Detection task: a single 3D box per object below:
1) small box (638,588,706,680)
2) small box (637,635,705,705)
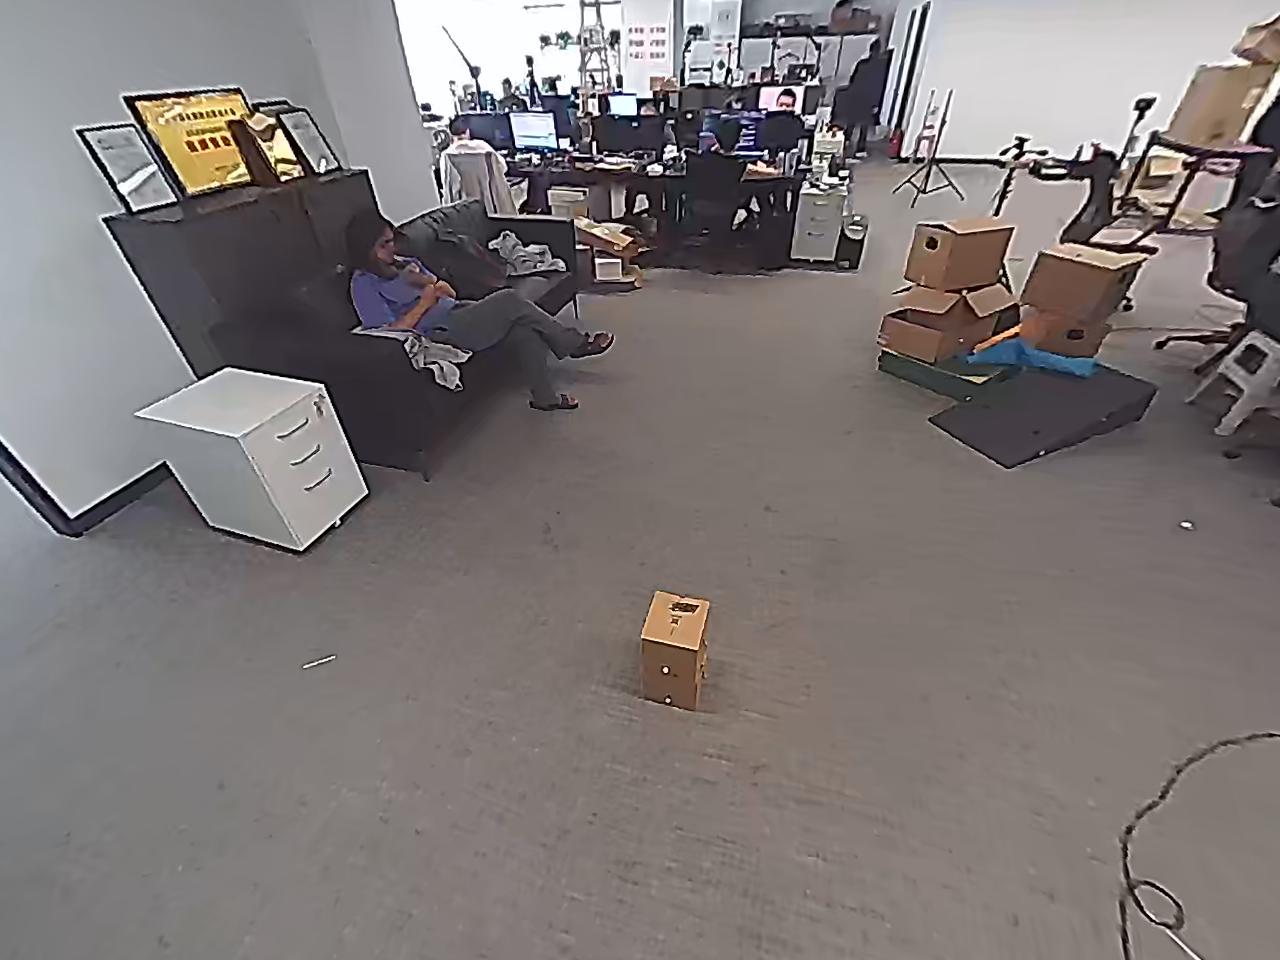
[{"bbox_3d":[0.095,0.454,1.594,0.168,0.176,0.179,9,40,14],"label":"small box"},{"bbox_3d":[0.098,0.580,1.701,0.179,0.176,0.168,10,39,14],"label":"small box"}]
